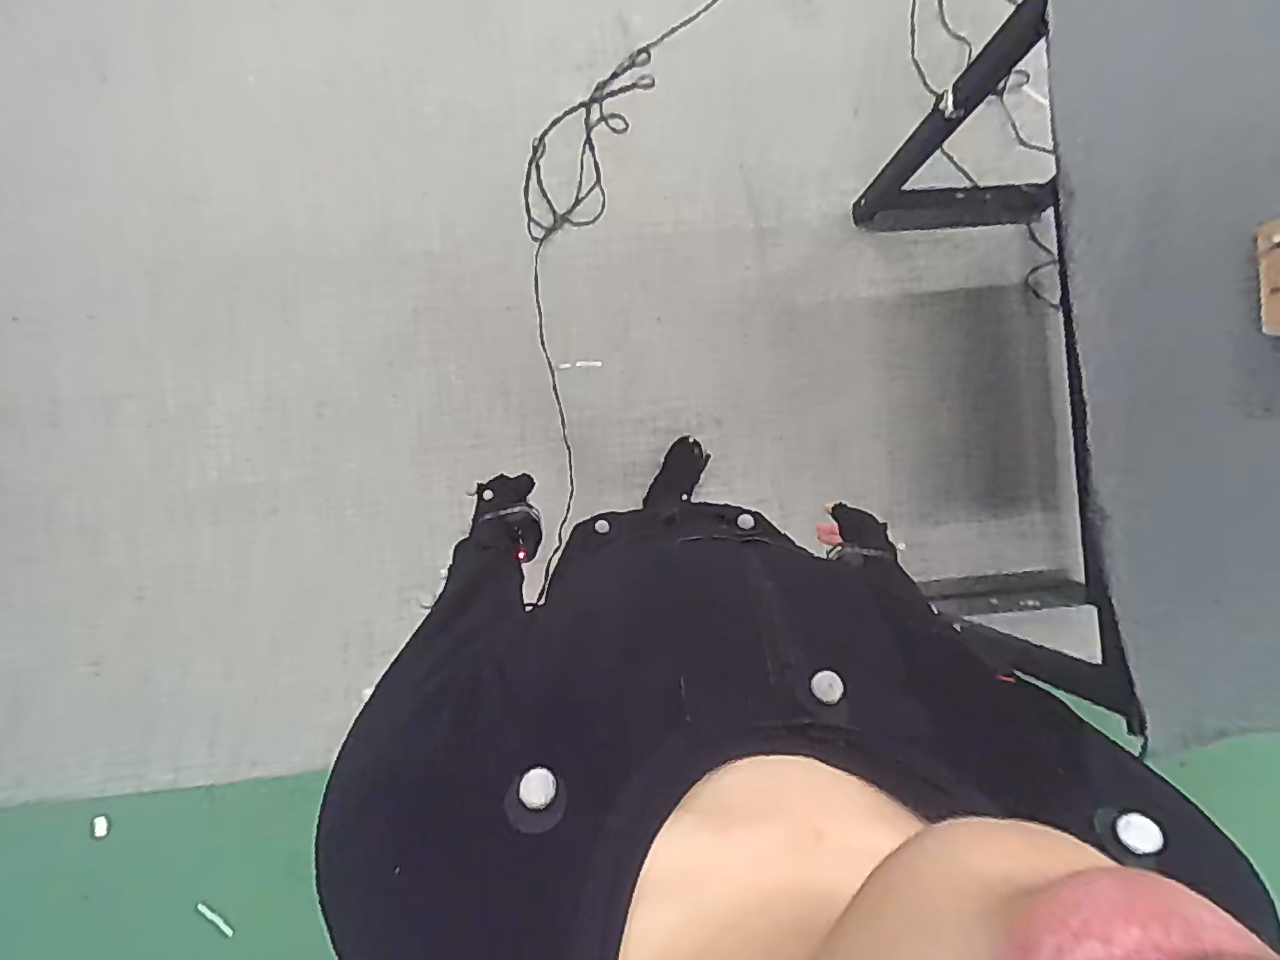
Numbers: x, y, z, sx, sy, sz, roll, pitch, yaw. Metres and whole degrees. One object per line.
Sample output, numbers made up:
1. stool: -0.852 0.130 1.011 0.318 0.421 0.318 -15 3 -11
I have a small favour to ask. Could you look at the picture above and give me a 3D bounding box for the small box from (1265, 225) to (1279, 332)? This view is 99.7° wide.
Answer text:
1. small box: 1.020 -0.302 0.735 0.179 0.176 0.168 -1 88 -4
